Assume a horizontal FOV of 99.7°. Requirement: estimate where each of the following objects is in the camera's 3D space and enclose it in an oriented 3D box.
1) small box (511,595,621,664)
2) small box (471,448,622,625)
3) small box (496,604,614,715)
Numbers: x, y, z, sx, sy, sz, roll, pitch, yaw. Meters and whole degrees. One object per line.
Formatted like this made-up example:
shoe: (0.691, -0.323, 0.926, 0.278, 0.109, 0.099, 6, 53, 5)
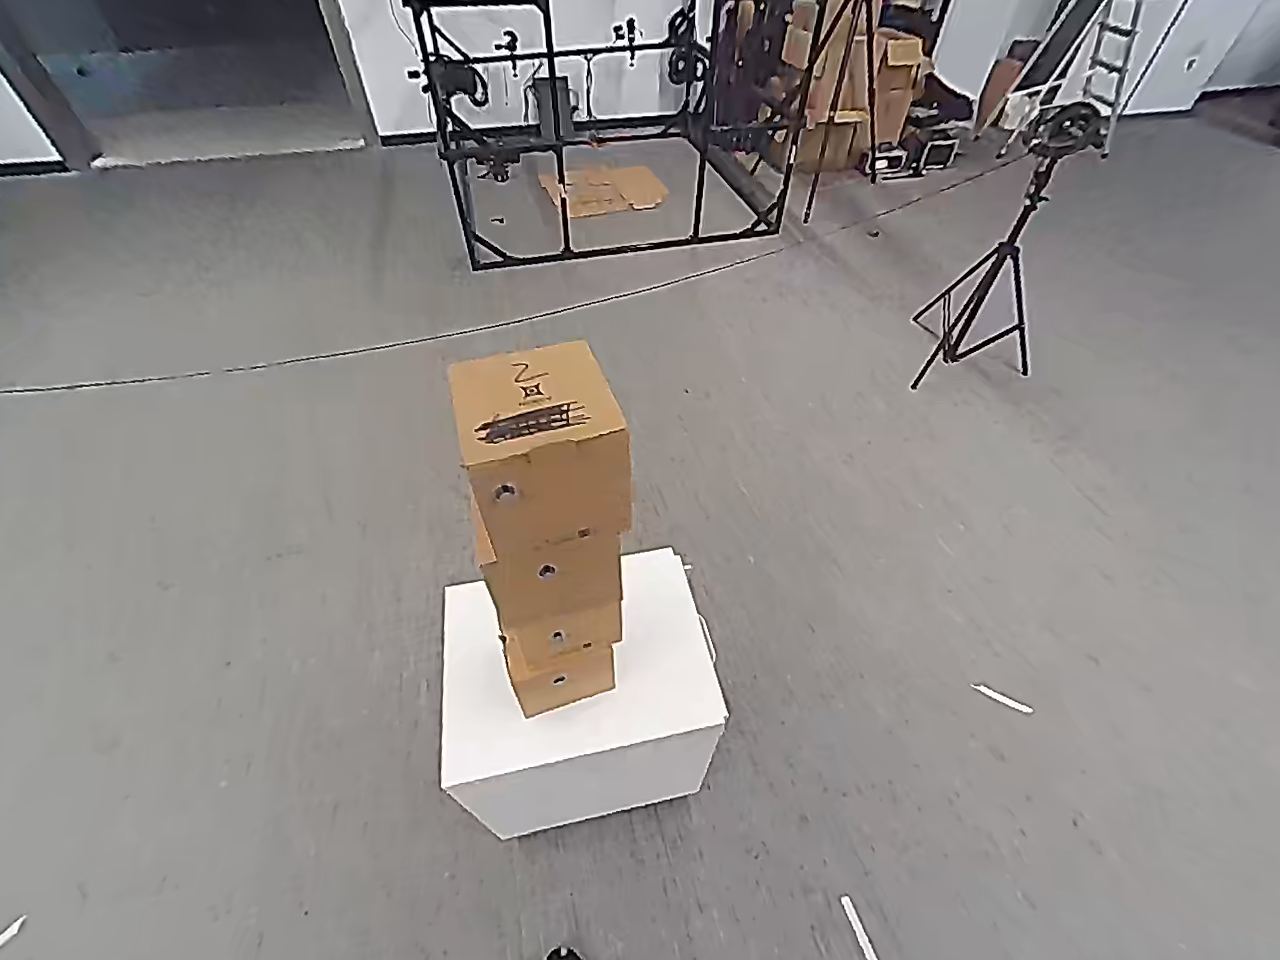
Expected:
small box: (-0.131, 0.183, 0.896, 0.168, 0.176, 0.179, -13, 49, -13)
small box: (-0.128, 0.083, 0.765, 0.179, 0.176, 0.168, -11, 49, -11)
small box: (-0.154, 0.308, 1.001, 0.179, 0.176, 0.168, -14, 50, -14)
